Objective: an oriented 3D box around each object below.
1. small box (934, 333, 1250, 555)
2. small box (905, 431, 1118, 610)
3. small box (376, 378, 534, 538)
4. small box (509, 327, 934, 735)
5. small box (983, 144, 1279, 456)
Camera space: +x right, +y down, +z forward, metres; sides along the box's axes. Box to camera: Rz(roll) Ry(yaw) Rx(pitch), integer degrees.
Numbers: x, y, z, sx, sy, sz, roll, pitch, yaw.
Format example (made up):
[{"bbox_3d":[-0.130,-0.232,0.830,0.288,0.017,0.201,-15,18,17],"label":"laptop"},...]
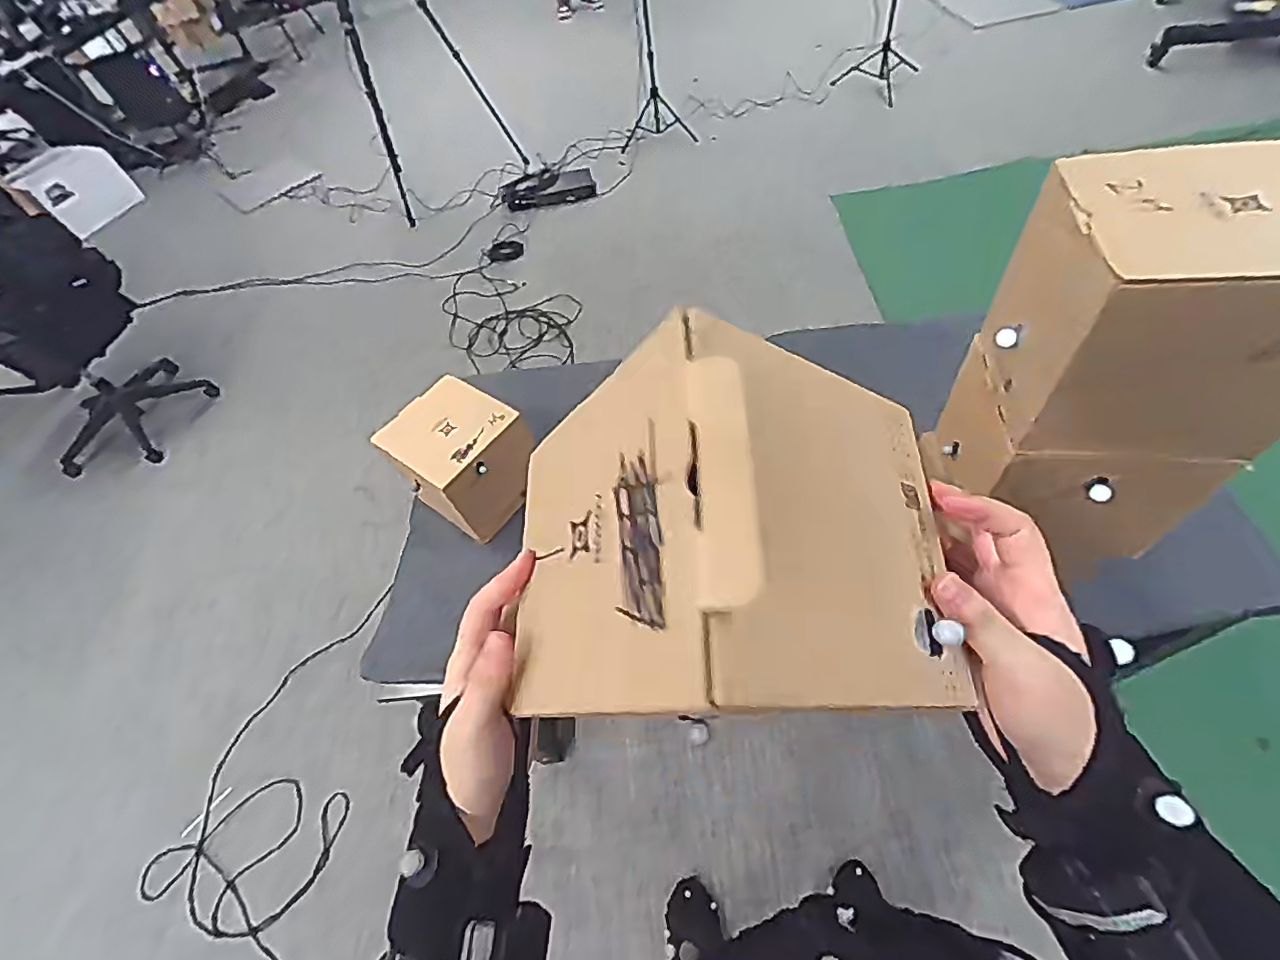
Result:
[{"bbox_3d":[0.428,-0.034,0.556,0.179,0.176,0.168,2,54,13],"label":"small box"},{"bbox_3d":[0.453,0.049,0.694,0.168,0.176,0.179,-7,54,7],"label":"small box"},{"bbox_3d":[-0.282,-0.032,0.890,0.179,0.176,0.168,29,65,26],"label":"small box"},{"bbox_3d":[0.040,0.047,0.312,0.176,0.179,0.168,13,64,-31],"label":"small box"},{"bbox_3d":[0.406,-0.133,0.426,0.179,0.176,0.168,3,54,14],"label":"small box"}]
